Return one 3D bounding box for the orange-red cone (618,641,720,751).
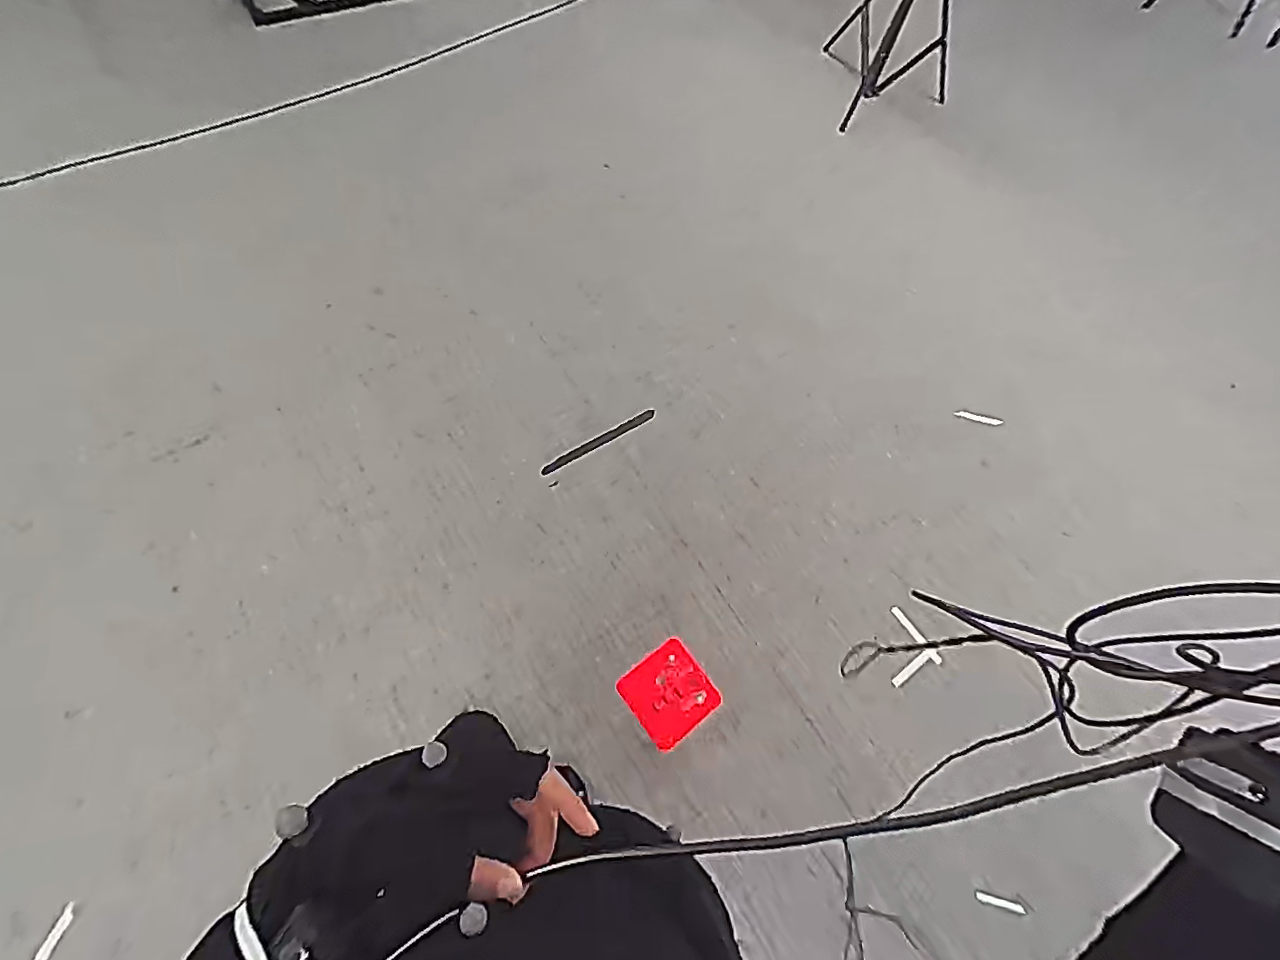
[{"bbox_3d":[0.081,0.447,1.155,0.199,0.360,0.198,-33,72,-17],"label":"orange-red cone"}]
